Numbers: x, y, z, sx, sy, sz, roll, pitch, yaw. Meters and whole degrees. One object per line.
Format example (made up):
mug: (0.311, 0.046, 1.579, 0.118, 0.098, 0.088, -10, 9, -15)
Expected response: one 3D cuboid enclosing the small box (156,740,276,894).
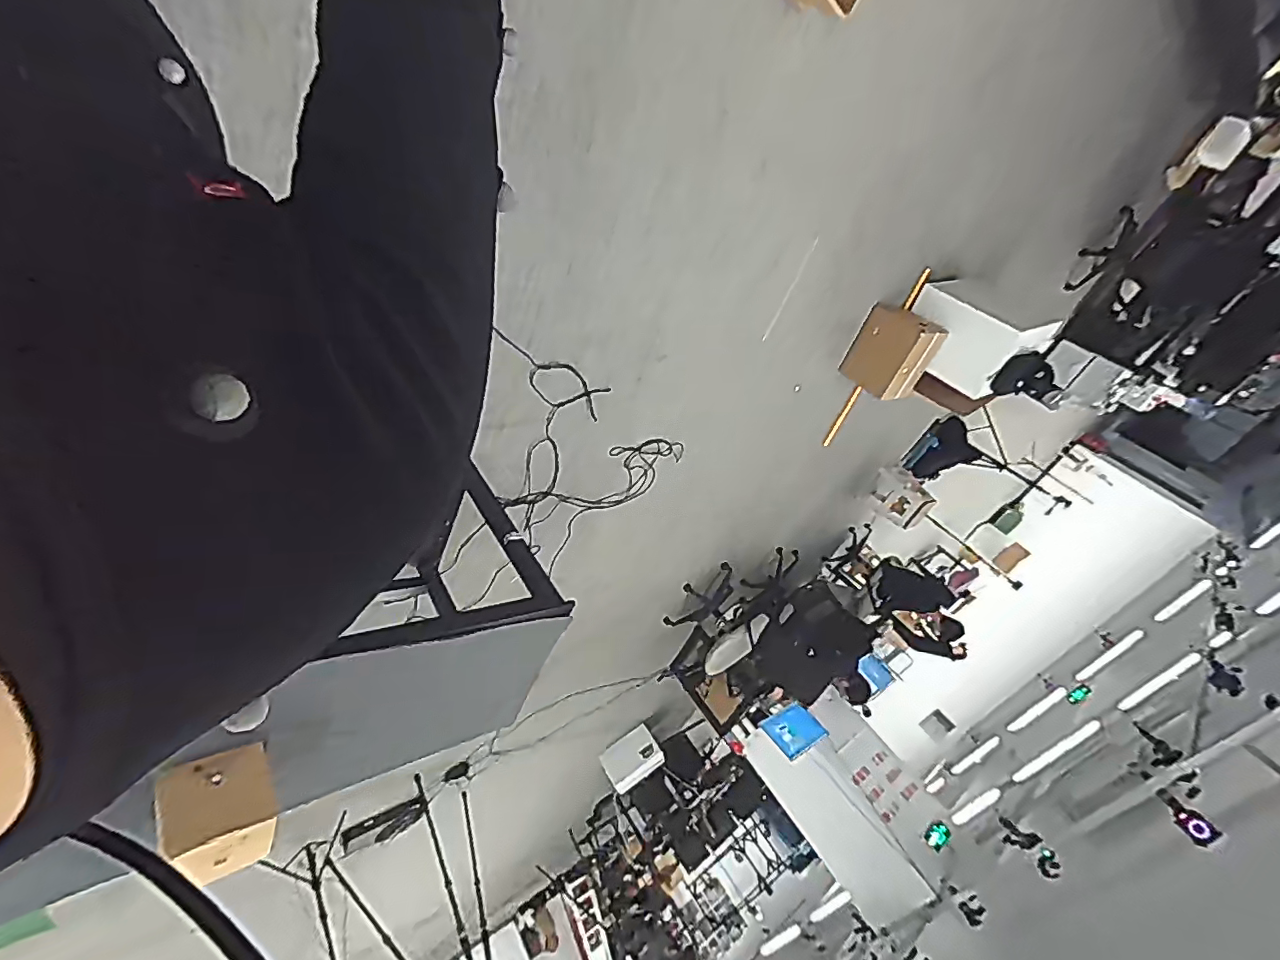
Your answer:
small box: (-0.834, 0.650, 1.061, 0.168, 0.176, 0.179, -3, 131, -44)
